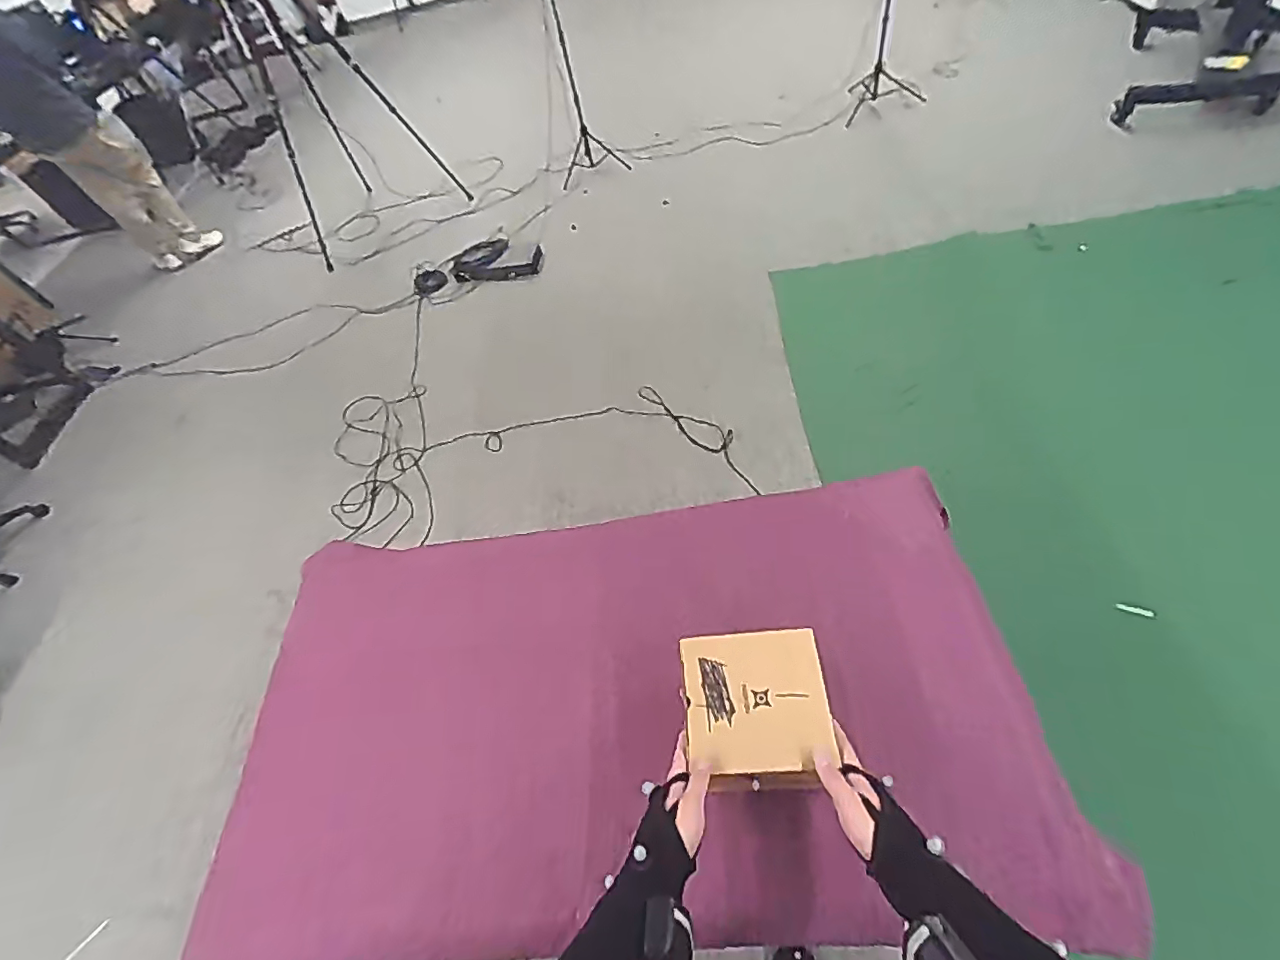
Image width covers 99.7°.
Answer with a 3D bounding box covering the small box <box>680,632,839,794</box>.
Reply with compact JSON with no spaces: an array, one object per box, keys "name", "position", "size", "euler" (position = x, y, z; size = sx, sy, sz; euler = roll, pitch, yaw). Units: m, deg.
[{"name":"small box","position":[0.154,0.319,0.730],"size":[0.179,0.176,0.168],"euler":[-7,54,7]}]
